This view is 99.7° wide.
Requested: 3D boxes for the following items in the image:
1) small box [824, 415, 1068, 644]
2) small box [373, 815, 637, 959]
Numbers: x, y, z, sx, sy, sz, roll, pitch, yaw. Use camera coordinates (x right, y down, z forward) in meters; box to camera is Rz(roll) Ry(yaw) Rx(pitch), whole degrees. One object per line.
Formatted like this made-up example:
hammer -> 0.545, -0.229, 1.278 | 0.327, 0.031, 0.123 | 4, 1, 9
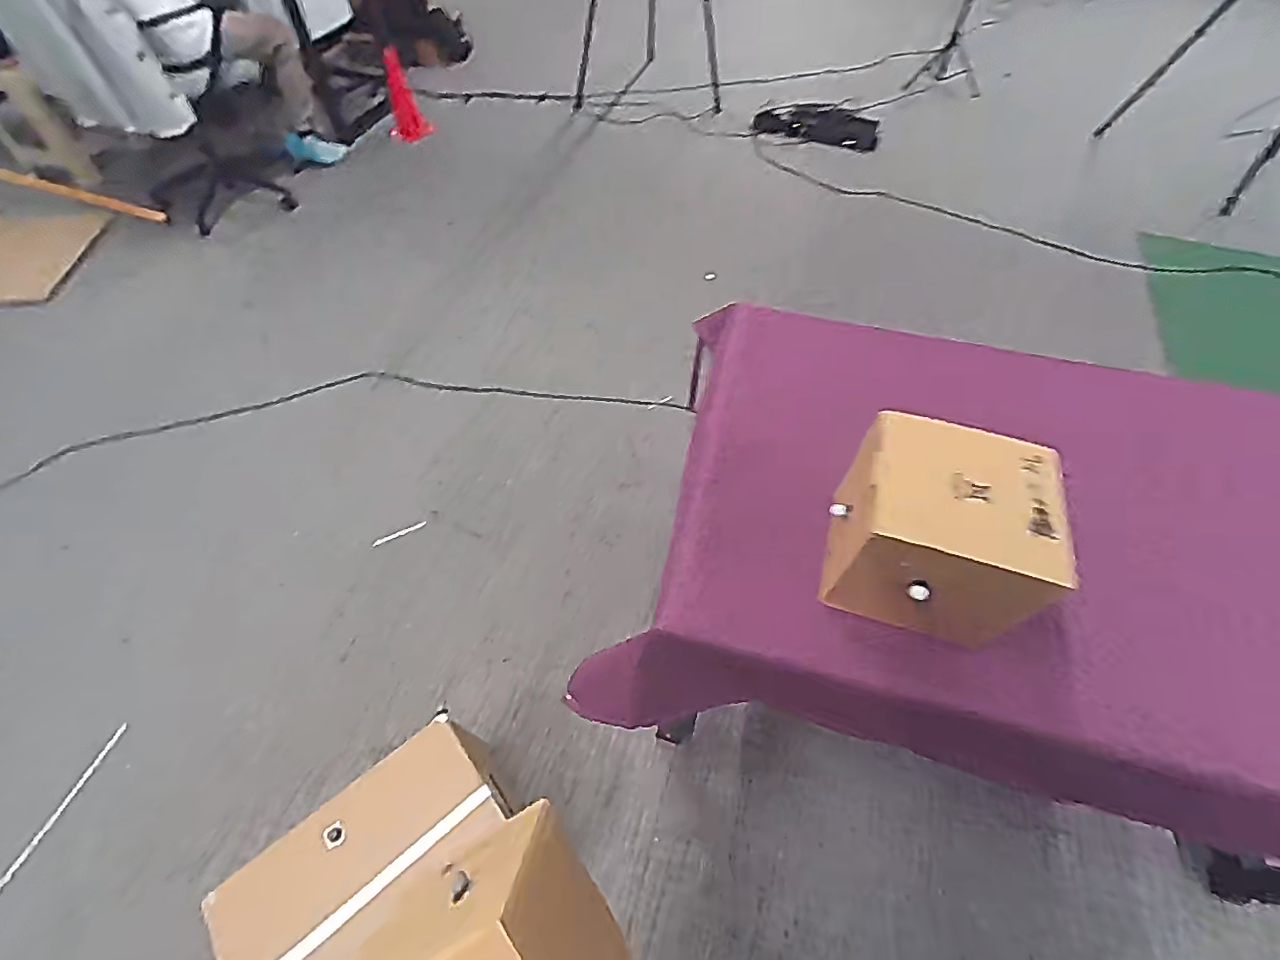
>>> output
small box -> 0.316, 0.059, 0.593 | 0.179, 0.176, 0.168 | 15, 57, 11
small box -> -0.113, 0.423, 0.451 | 0.168, 0.176, 0.179 | -31, 88, 0
